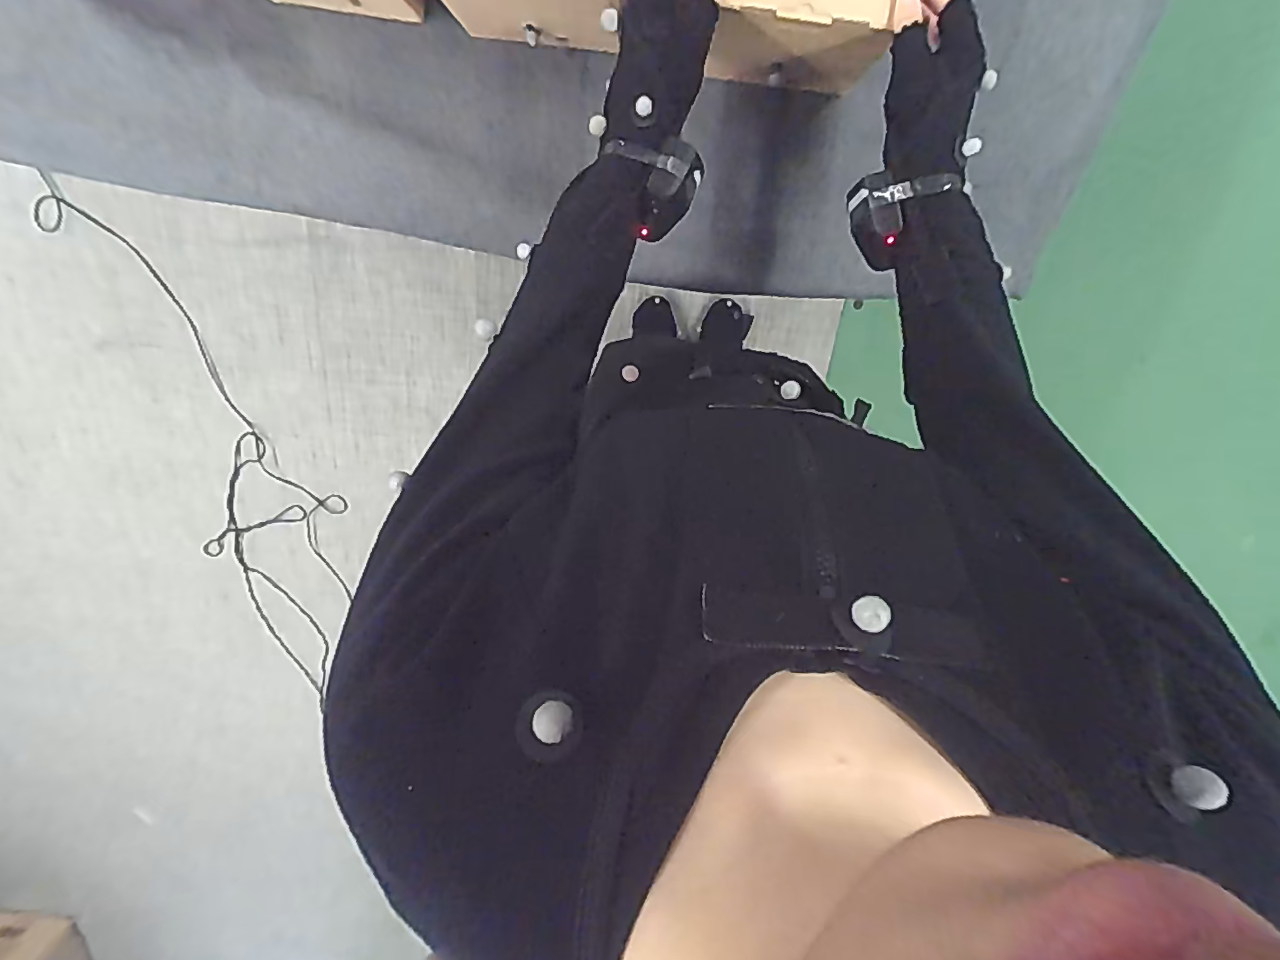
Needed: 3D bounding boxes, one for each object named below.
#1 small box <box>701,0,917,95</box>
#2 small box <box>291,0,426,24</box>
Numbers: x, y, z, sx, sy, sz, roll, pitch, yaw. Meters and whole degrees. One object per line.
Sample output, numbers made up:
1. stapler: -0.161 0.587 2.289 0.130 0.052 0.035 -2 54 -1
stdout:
1. small box: 0.147 -0.472 0.469 0.168 0.176 0.179 8 111 1
2. small box: -0.297 -0.544 0.472 0.168 0.176 0.179 9 110 0
